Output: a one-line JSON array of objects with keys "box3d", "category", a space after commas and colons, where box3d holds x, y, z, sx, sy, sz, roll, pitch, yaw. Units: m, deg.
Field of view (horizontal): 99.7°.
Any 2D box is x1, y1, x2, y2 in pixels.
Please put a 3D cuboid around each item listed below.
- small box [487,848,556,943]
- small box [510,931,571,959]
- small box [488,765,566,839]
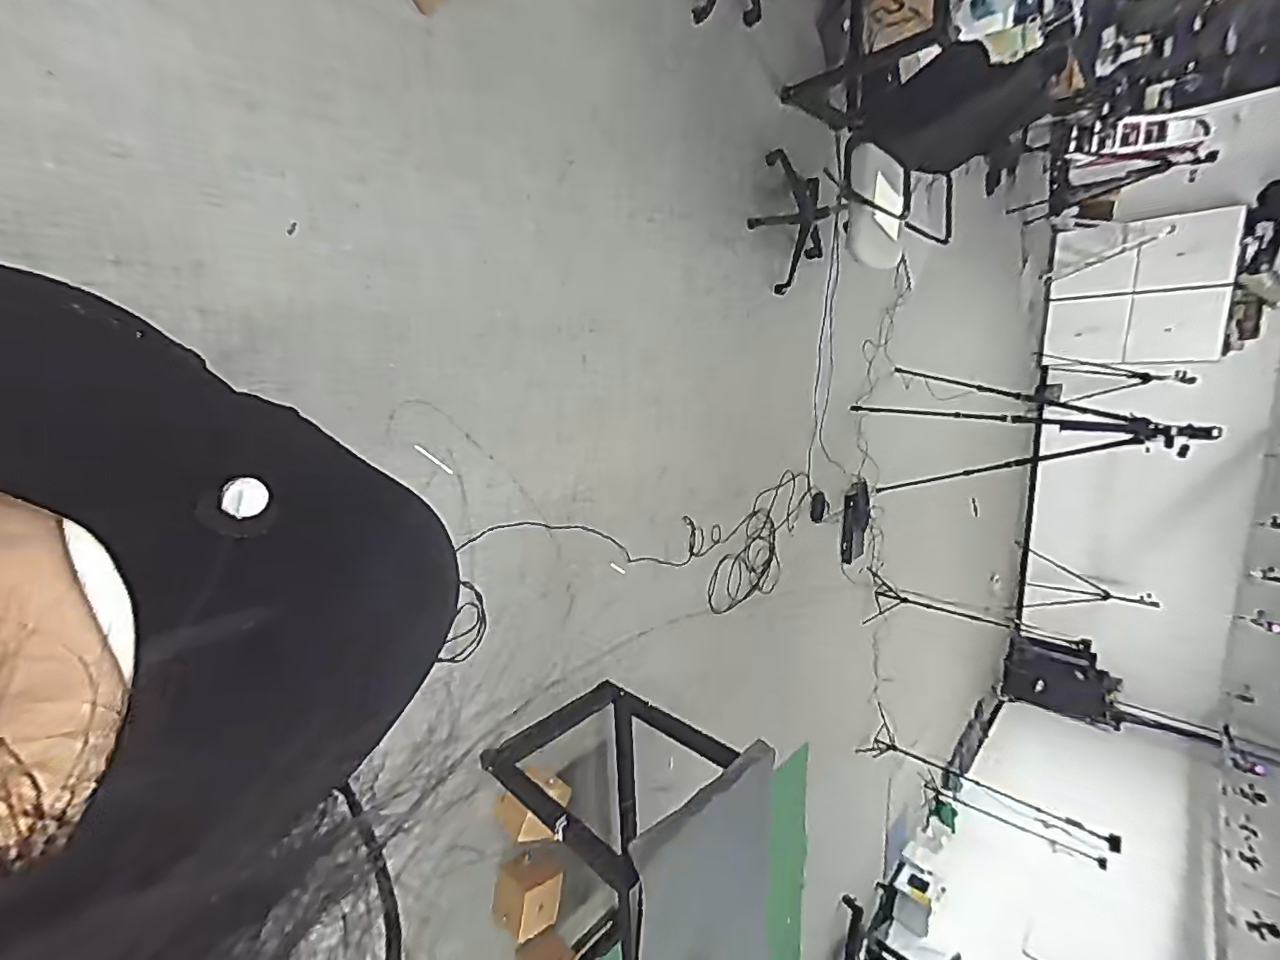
[{"box3d": [-0.420, 1.452, 1.903, 0.168, 0.176, 0.179, 6, 90, -48], "category": "small box"}, {"box3d": [-0.375, 1.837, 2.011, 0.168, 0.176, 0.179, -6, 101, -45], "category": "small box"}, {"box3d": [-0.396, 1.113, 1.877, 0.179, 0.176, 0.168, 34, 72, -45], "category": "small box"}]
